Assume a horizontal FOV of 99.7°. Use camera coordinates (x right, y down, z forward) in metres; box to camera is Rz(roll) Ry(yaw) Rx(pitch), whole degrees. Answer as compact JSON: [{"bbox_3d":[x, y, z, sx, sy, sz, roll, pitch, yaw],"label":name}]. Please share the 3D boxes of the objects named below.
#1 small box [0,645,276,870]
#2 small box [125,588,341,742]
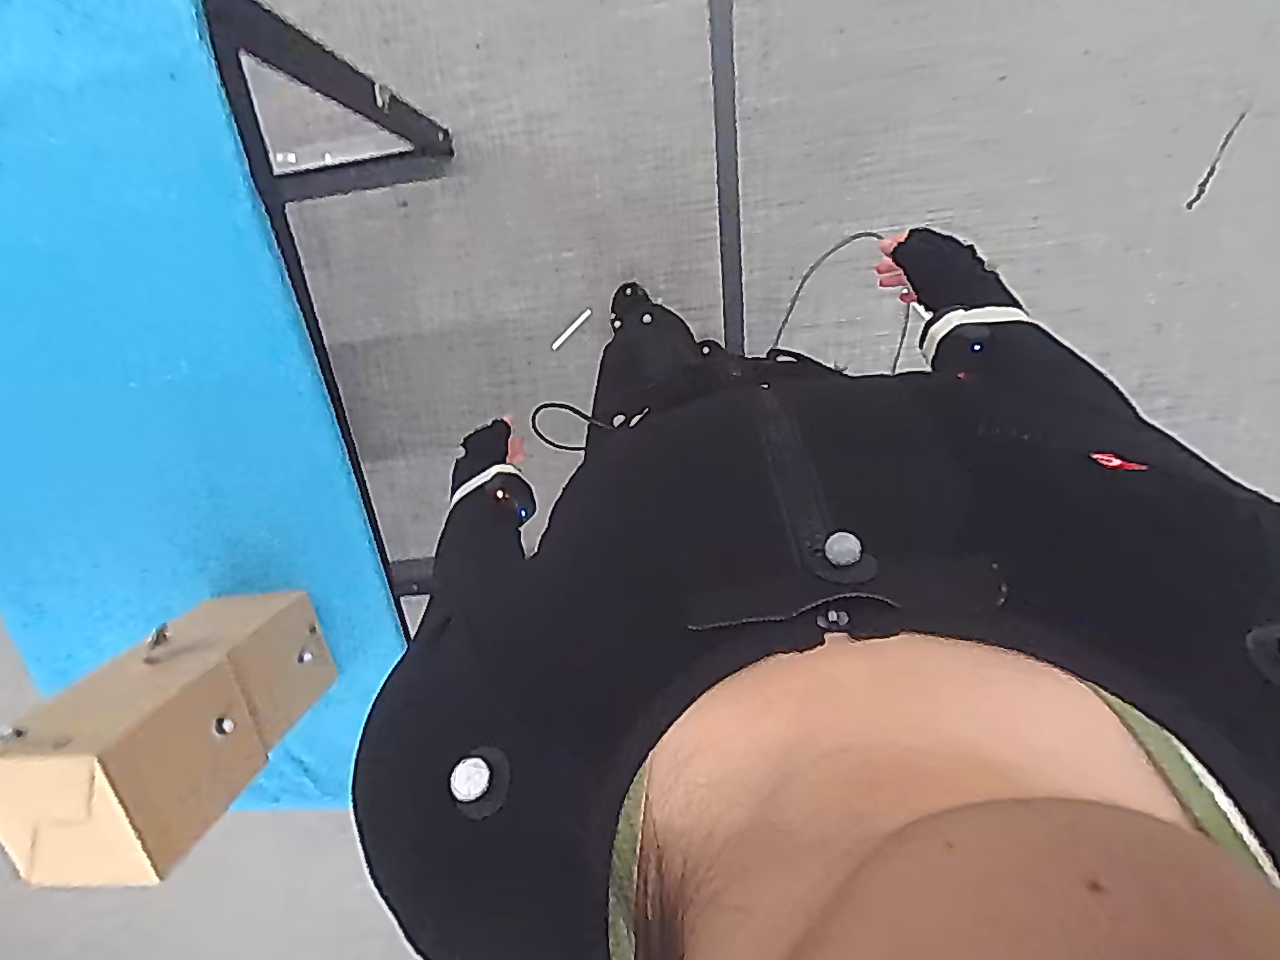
[{"bbox_3d":[-0.595,0.324,0.648,0.168,0.176,0.179,-4,108,7],"label":"small box"},{"bbox_3d":[-0.592,0.275,0.808,0.179,0.176,0.168,-4,109,4],"label":"small box"}]
